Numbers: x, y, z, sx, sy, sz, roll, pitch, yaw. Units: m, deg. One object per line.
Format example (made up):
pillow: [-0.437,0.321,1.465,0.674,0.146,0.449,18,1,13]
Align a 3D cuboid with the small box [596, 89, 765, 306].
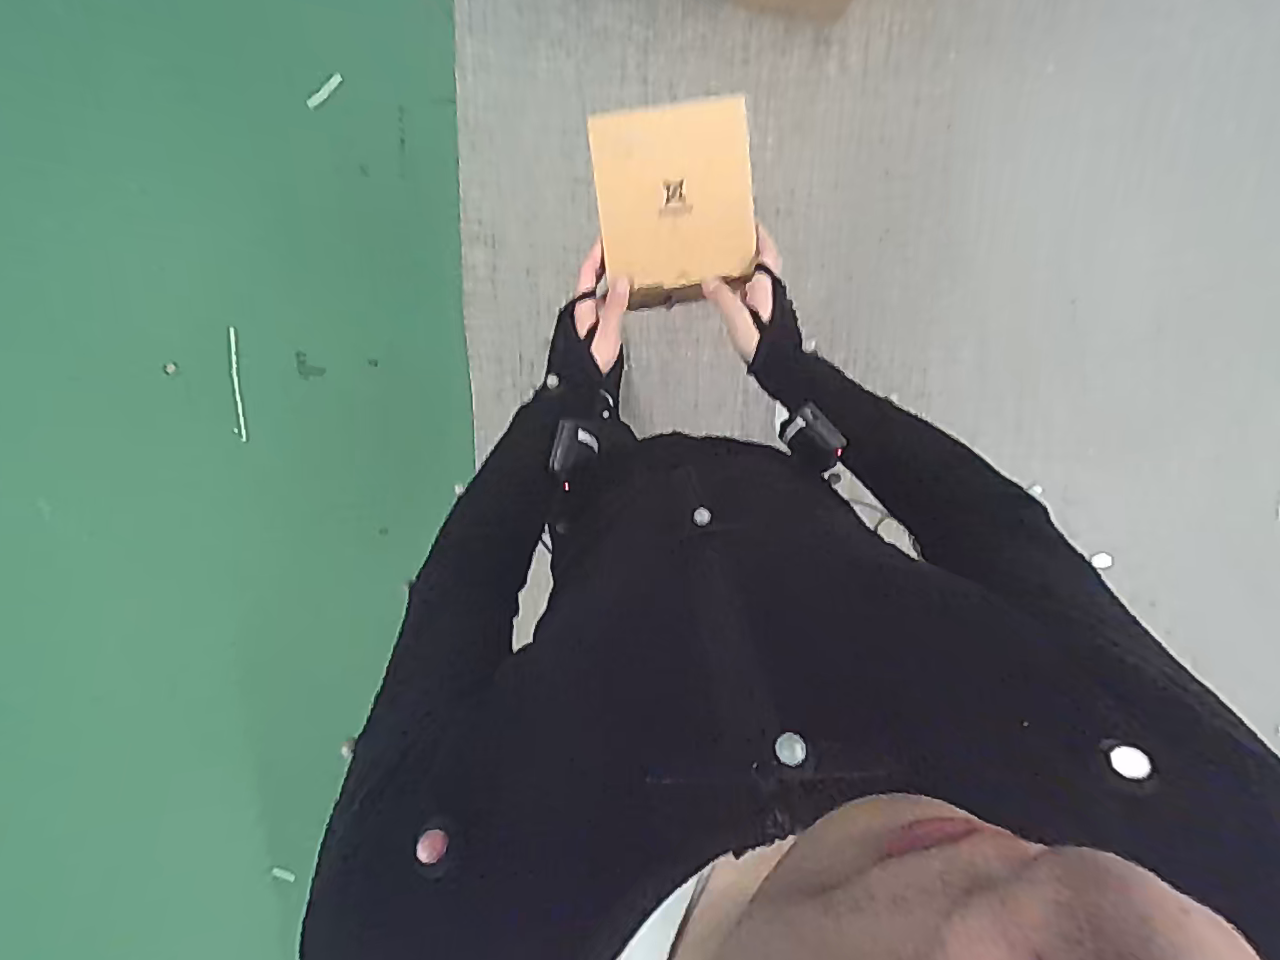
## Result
small box: [0.042,-0.313,0.634,0.168,0.176,0.179,-6,101,1]
